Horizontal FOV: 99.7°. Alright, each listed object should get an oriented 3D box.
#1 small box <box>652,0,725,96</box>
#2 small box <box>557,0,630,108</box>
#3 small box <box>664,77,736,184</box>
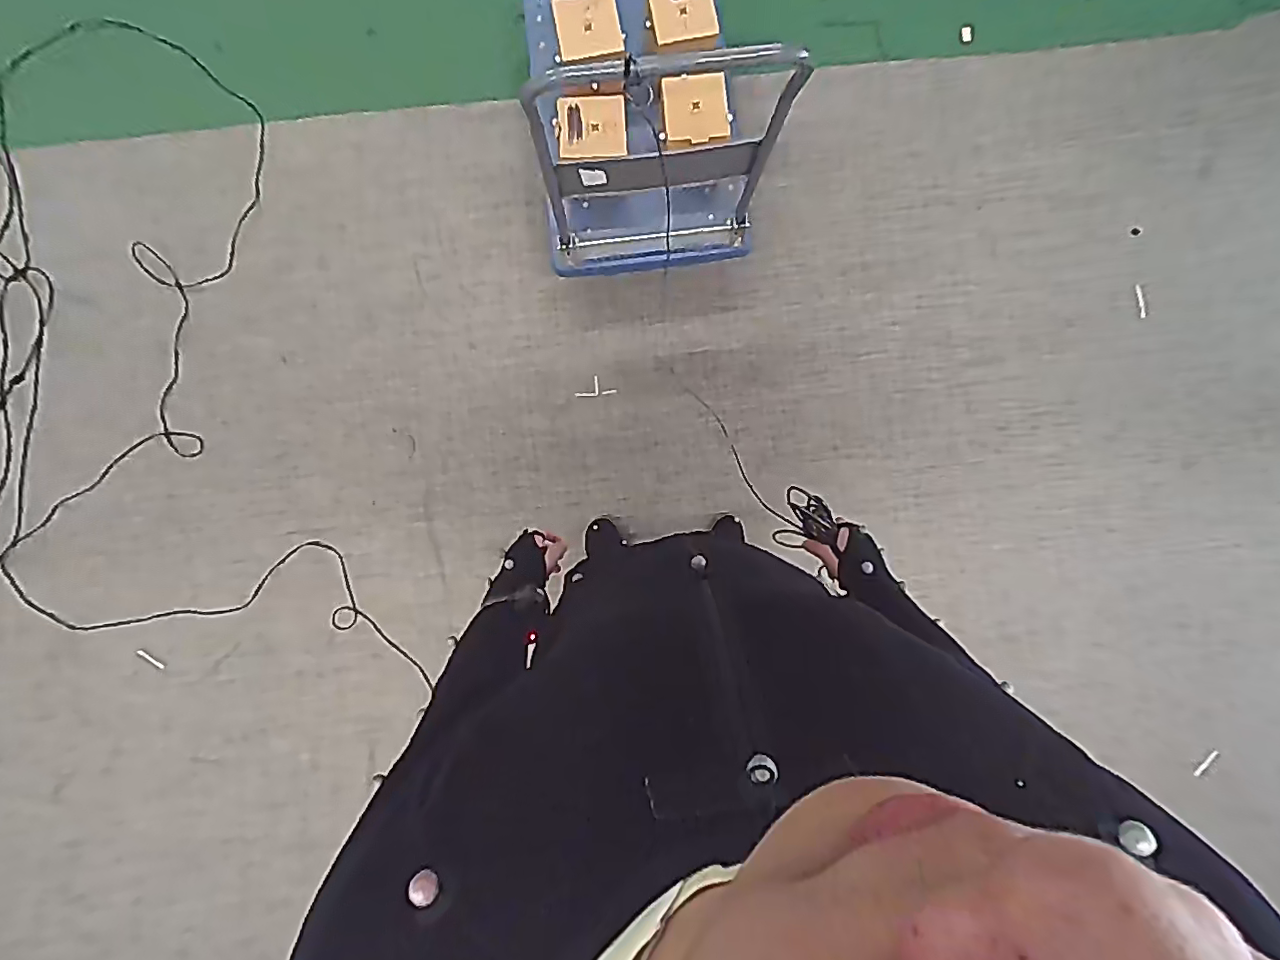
[{"bbox_3d":[0.125,-1.205,1.480,0.168,0.176,0.179,-10,87,0],"label":"small box"},{"bbox_3d":[-0.122,-1.158,1.479,0.168,0.176,0.179,-10,86,-1],"label":"small box"},{"bbox_3d":[0.156,-0.937,1.461,0.168,0.176,0.179,-6,87,0],"label":"small box"}]
